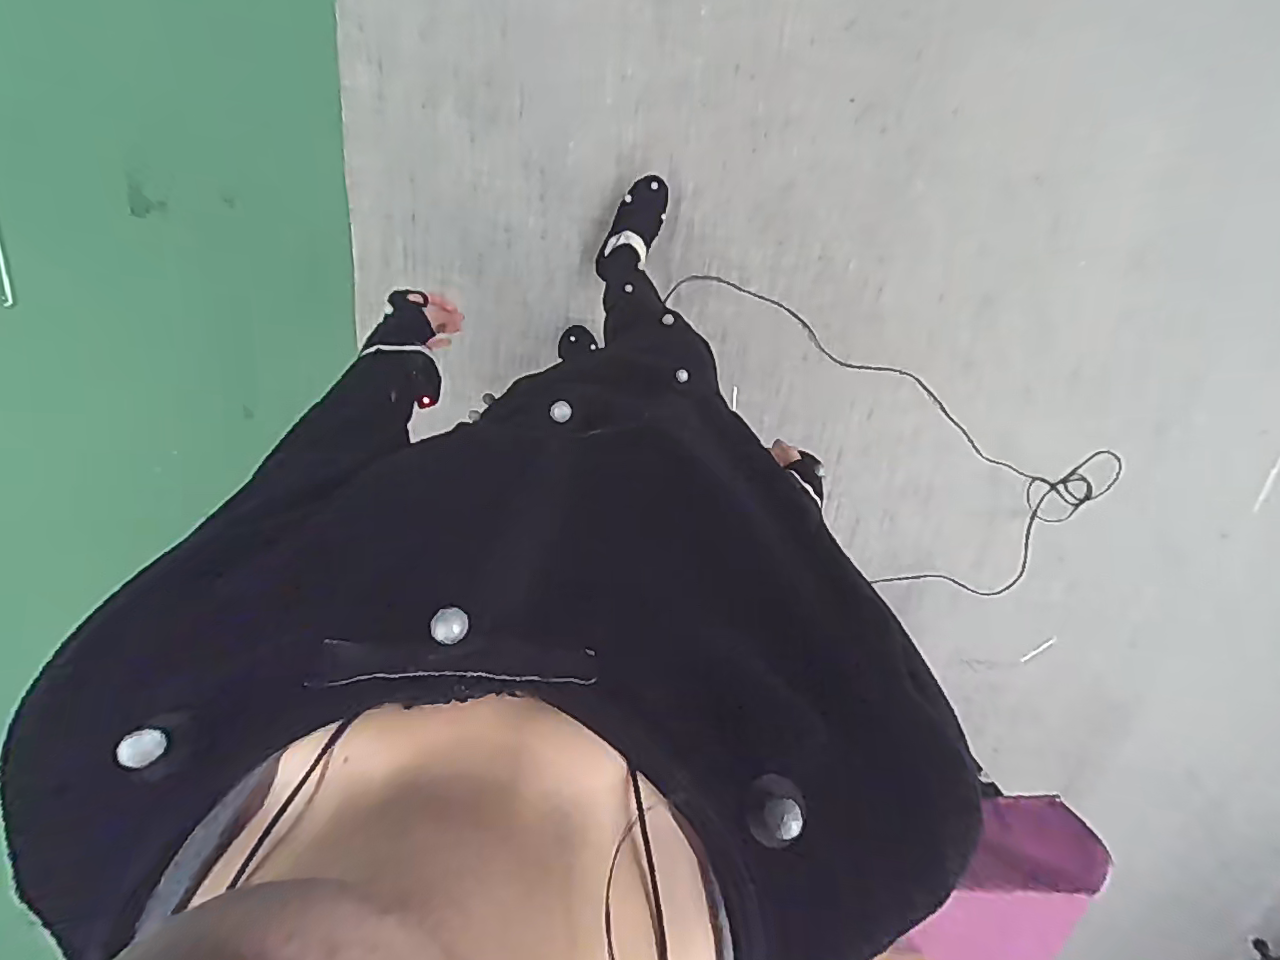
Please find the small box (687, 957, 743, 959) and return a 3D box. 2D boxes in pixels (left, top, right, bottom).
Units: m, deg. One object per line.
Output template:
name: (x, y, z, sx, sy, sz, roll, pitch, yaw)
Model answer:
small box: (0.163, 1.105, 1.087, 0.179, 0.176, 0.168, 6, 108, -5)
